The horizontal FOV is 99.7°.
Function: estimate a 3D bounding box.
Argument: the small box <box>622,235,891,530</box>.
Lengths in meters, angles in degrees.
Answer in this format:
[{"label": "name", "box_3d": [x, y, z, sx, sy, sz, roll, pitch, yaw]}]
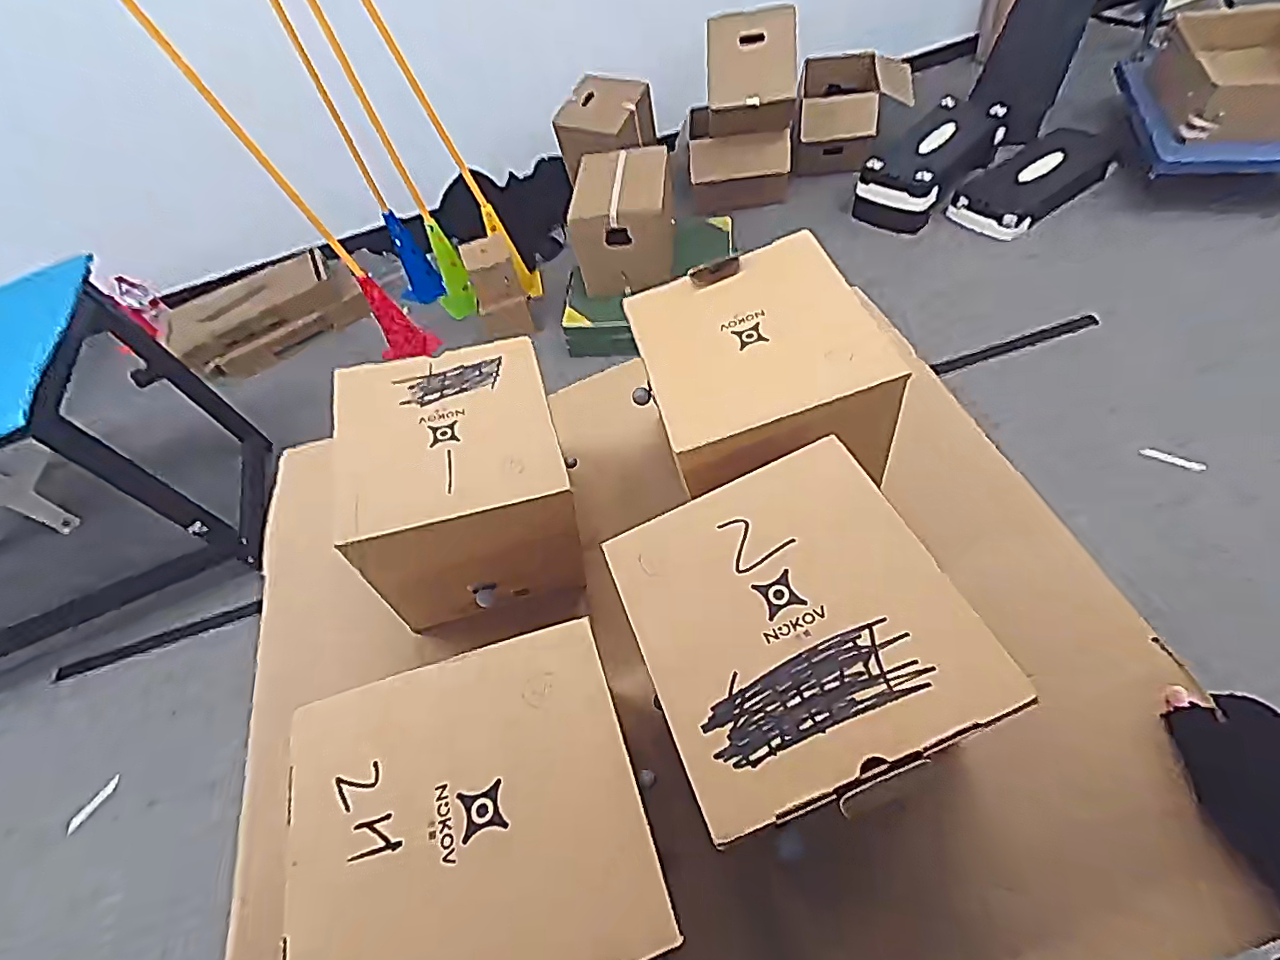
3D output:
[{"label": "small box", "box_3d": [0.099, -0.073, 0.485, 0.168, 0.176, 0.179, -19, 55, 5]}]
